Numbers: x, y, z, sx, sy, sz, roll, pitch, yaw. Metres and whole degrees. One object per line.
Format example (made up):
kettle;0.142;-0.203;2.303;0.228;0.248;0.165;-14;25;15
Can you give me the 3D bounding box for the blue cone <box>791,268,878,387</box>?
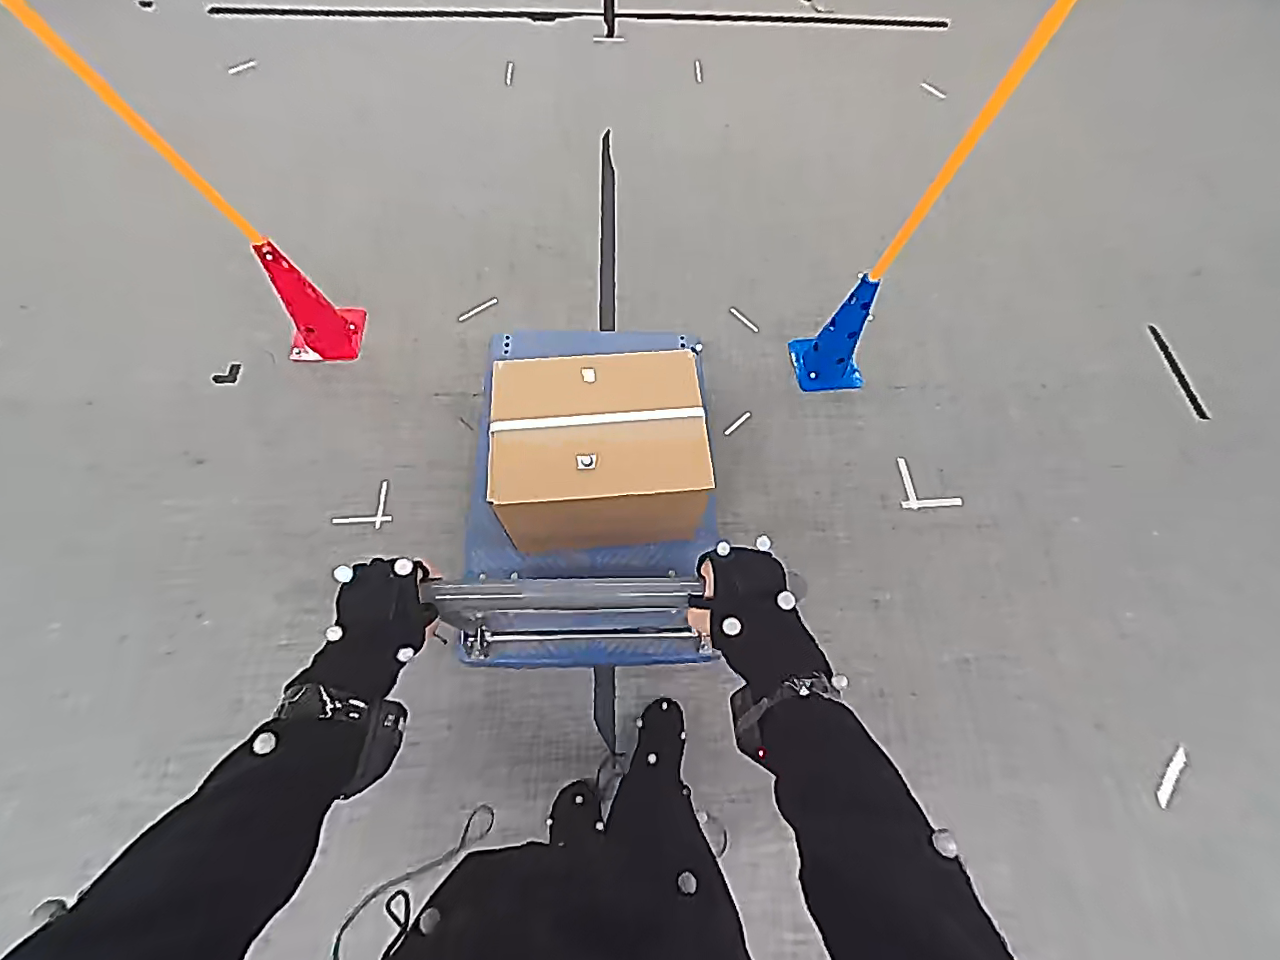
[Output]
blue cone;0.588;-0.443;1.549;0.193;0.380;0.192;-4;65;-5
